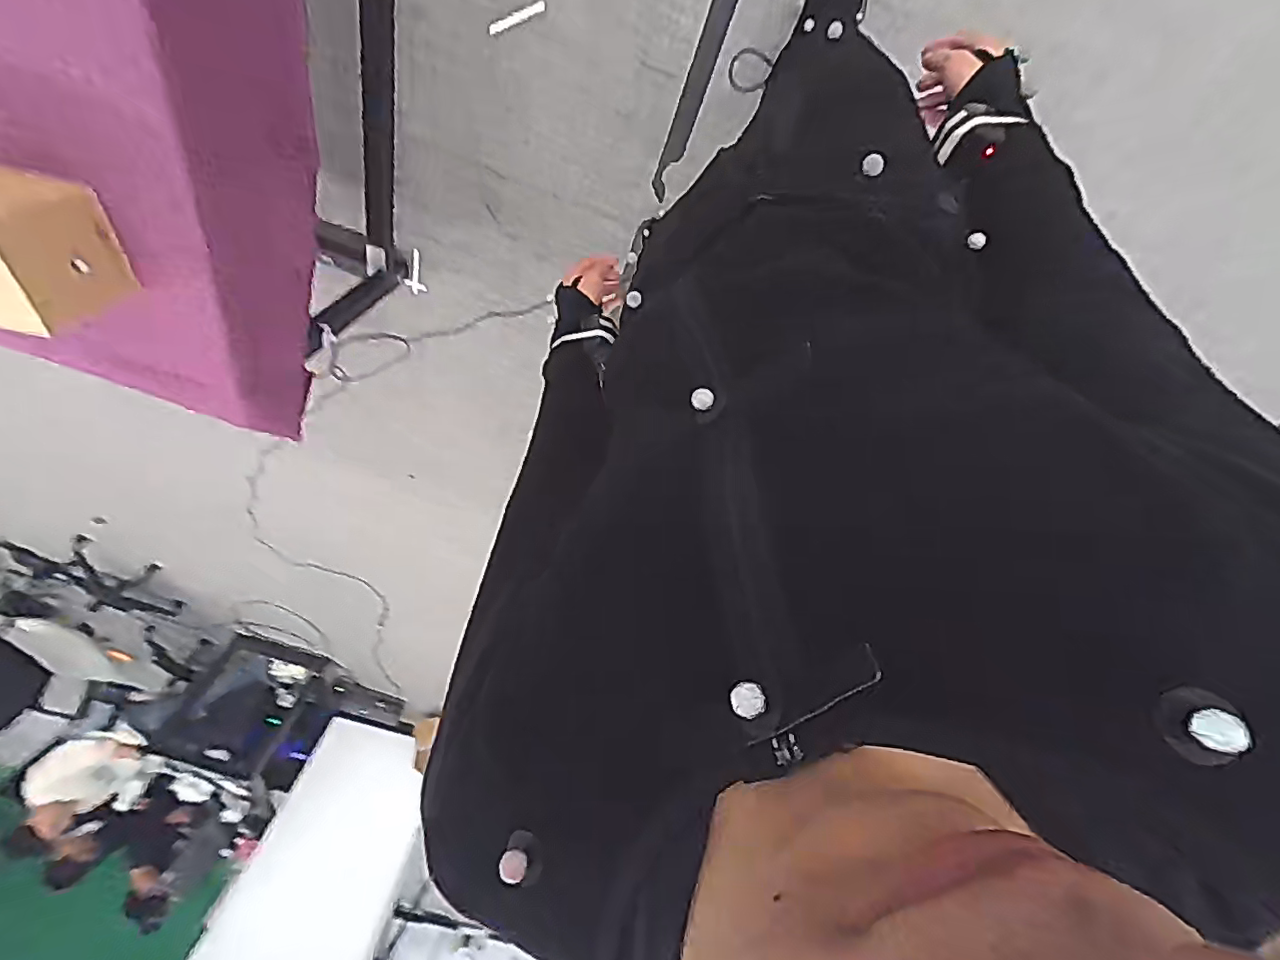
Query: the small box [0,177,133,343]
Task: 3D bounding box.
[{"bbox_3d":[-0.920,-0.331,0.804,0.179,0.176,0.168,13,131,1],"label":"small box"}]
